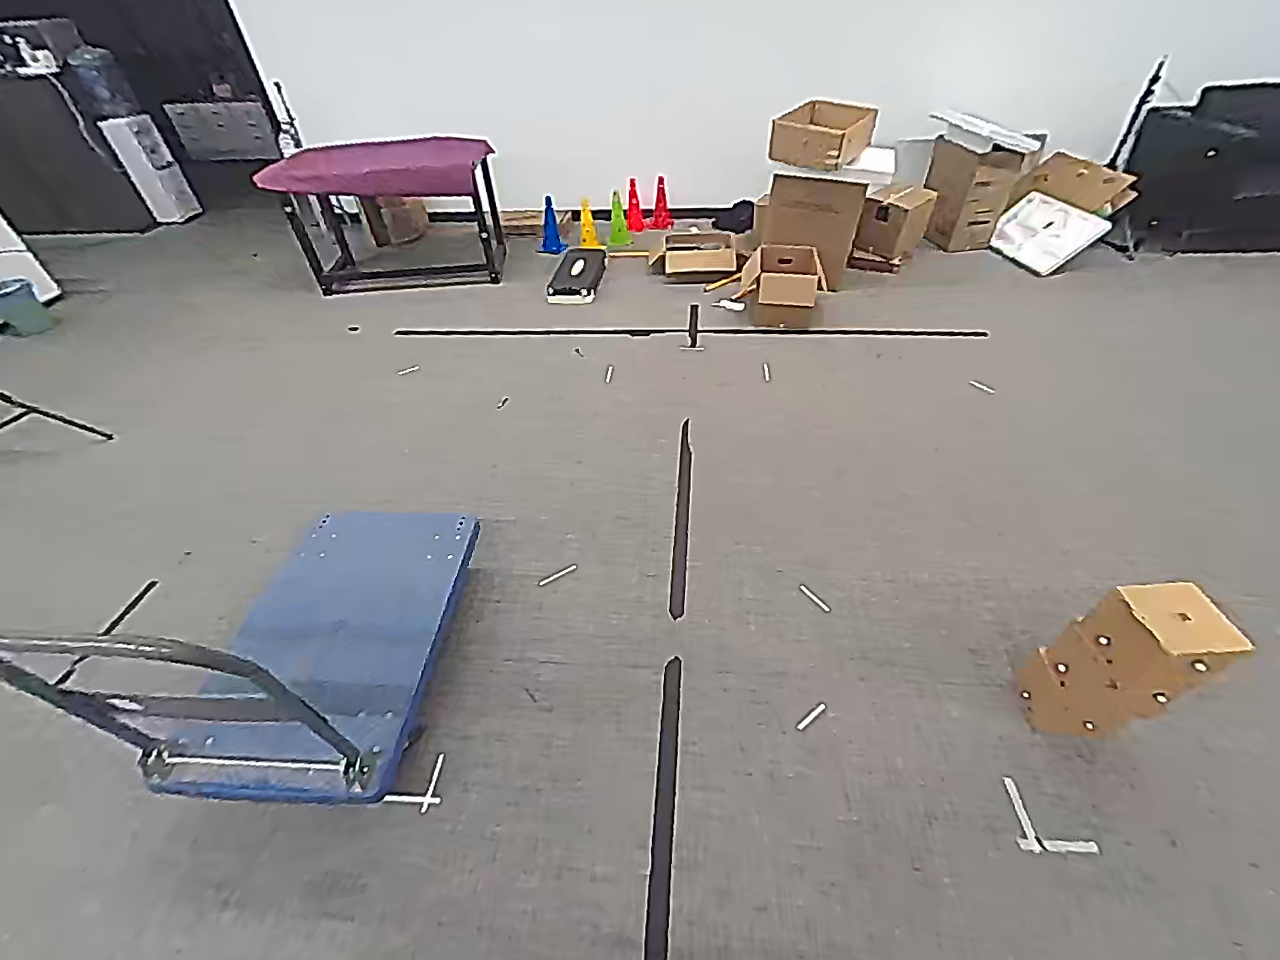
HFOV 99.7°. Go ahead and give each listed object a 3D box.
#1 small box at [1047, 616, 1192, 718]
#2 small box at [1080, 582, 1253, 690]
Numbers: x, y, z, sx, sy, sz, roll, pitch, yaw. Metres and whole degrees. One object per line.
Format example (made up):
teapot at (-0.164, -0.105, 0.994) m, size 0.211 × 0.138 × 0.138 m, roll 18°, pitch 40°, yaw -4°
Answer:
small box at (1.138, 0.452, 1.301) m, size 0.179 × 0.176 × 0.168 m, roll 4°, pitch 43°, yaw 8°
small box at (1.131, 0.342, 1.181) m, size 0.179 × 0.176 × 0.168 m, roll -4°, pitch 43°, yaw 0°
